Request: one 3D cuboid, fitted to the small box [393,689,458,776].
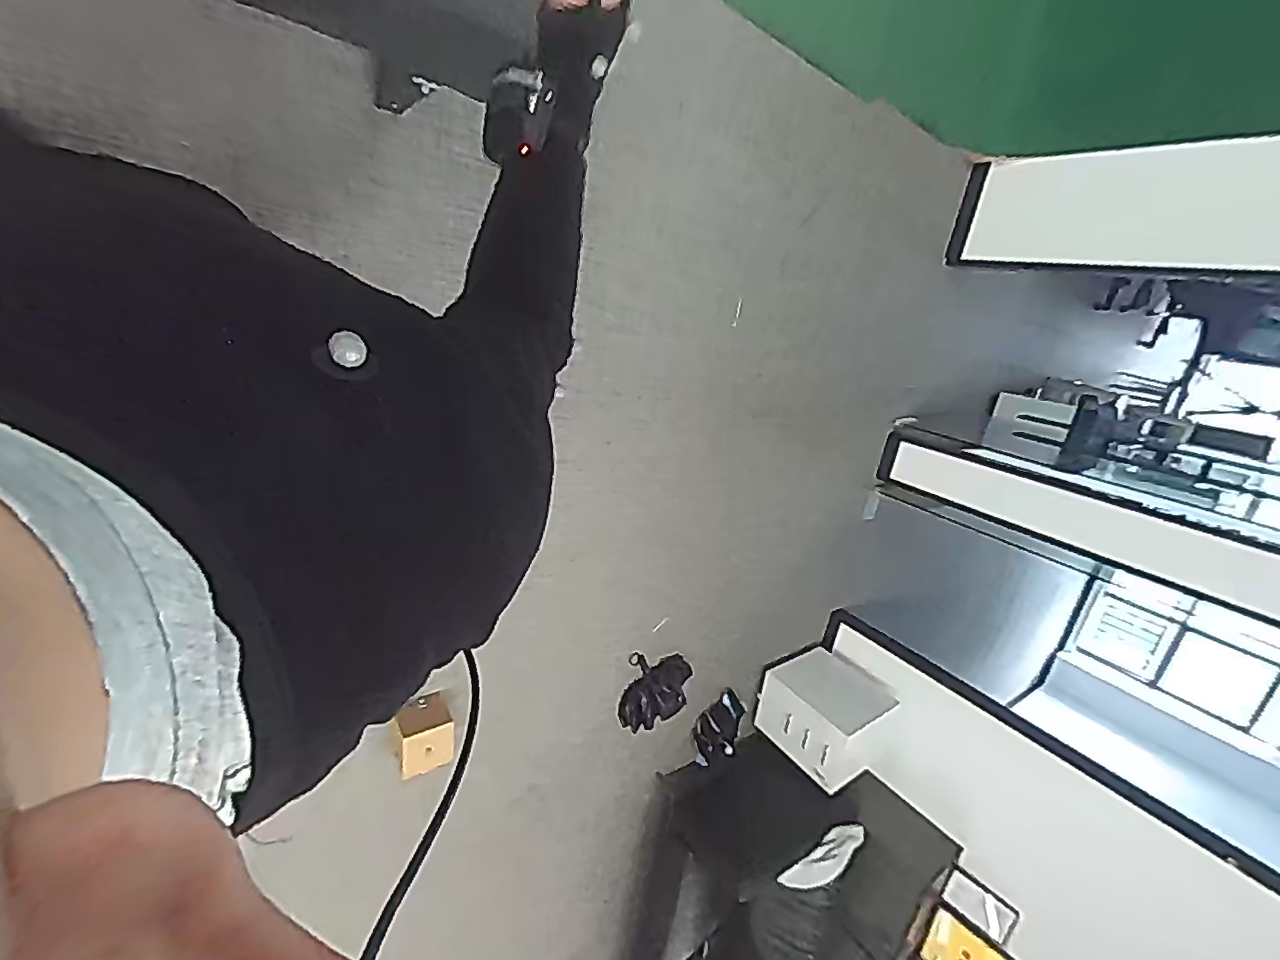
[{"bbox_3d":[-0.732,0.853,1.839,0.168,0.176,0.179,-8,113,-37],"label":"small box"}]
